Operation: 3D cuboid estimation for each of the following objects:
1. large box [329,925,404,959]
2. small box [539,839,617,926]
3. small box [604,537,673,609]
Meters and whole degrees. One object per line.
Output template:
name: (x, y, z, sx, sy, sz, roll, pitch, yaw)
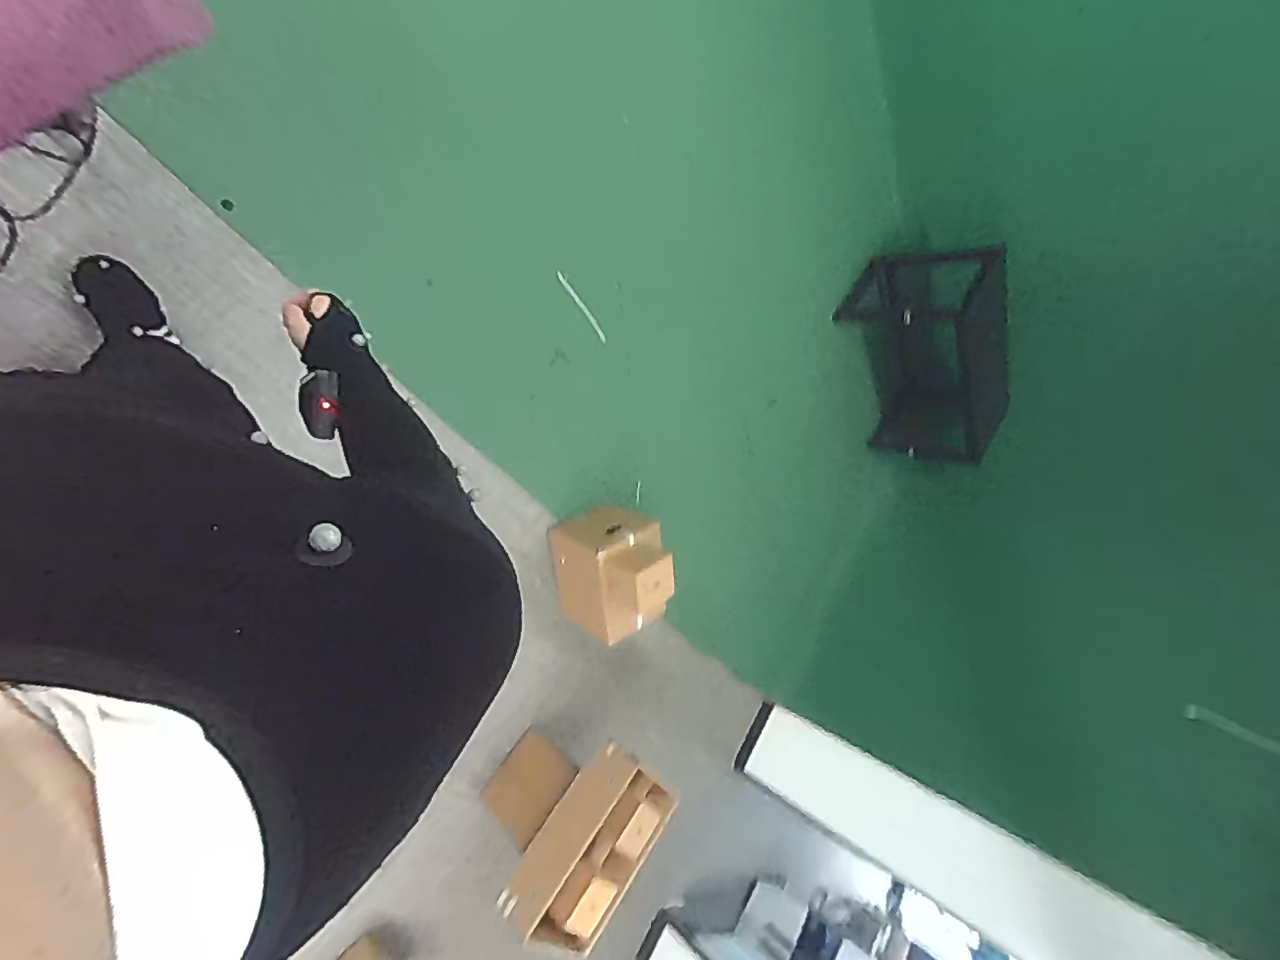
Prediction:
large box: (-0.958, 1.816, 1.765, 0.408, 0.320, 0.320, -37, 126, -33)
small box: (-0.217, 1.396, 1.882, 0.168, 0.176, 0.179, -50, 131, -23)
small box: (-0.006, 0.322, 1.919, 0.179, 0.176, 0.168, -24, 118, -37)
